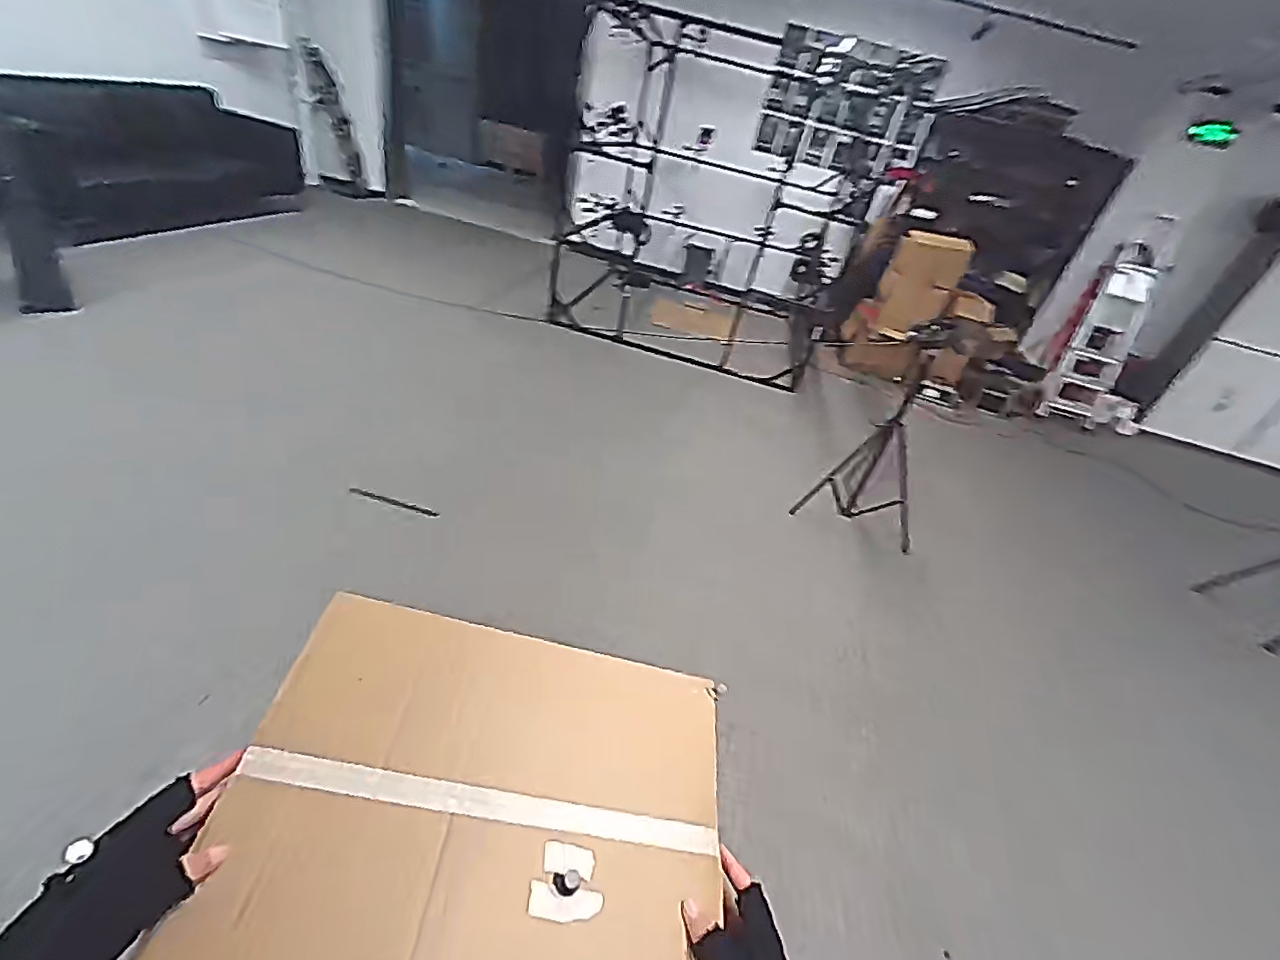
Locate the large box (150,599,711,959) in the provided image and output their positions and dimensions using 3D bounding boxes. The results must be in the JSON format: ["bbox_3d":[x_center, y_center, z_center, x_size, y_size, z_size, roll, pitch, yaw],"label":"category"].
[{"bbox_3d":[-0.175,0.373,0.570,0.408,0.320,0.320,16,44,-12],"label":"large box"}]
